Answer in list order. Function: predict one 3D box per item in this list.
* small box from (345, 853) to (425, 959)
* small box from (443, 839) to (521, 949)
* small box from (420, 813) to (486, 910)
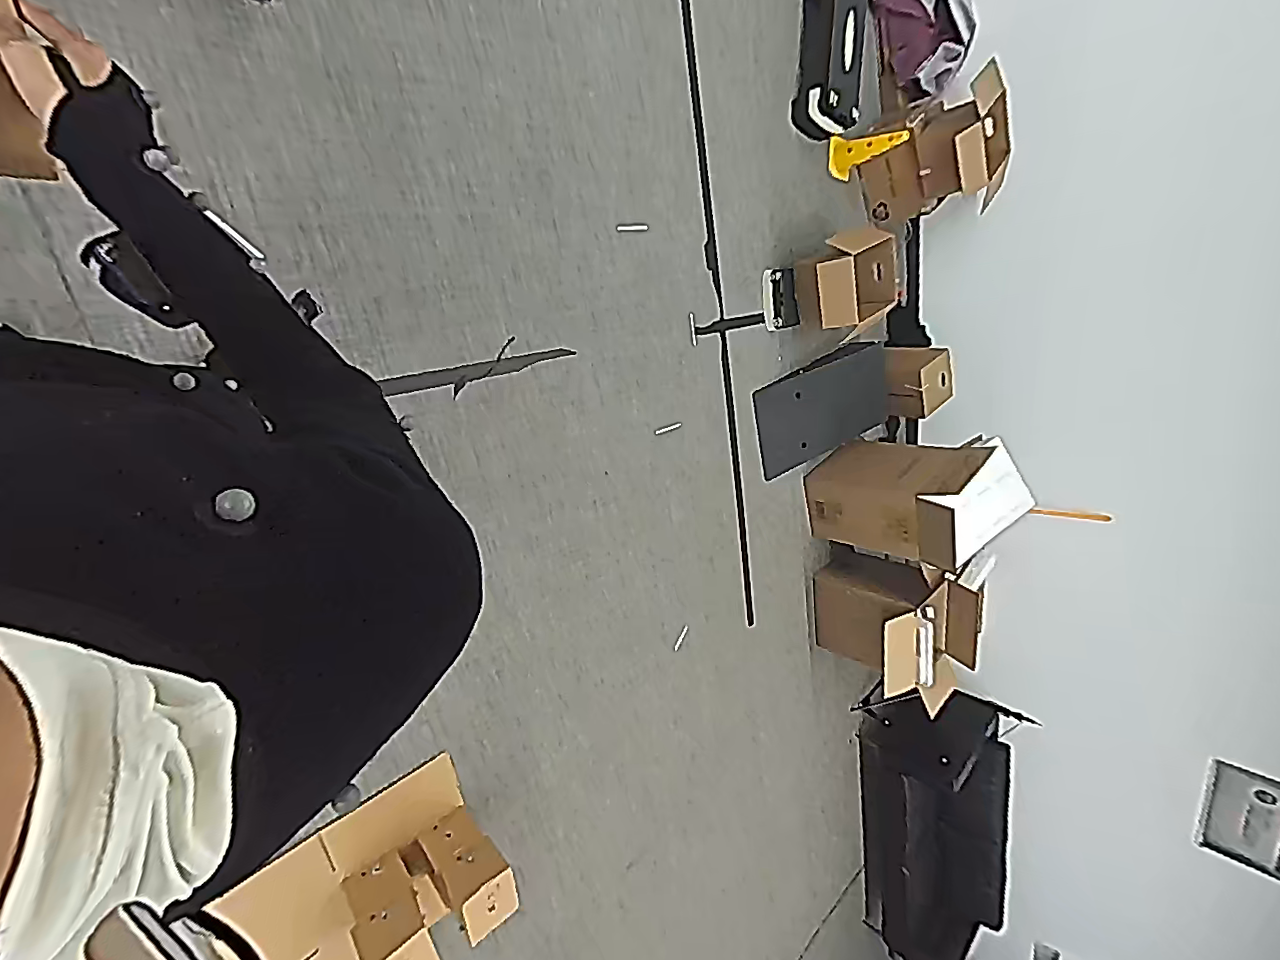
[{"bbox_3d":[-0.785,1.309,1.661,0.168,0.176,0.179,-18,110,-38],"label":"small box"},{"bbox_3d":[-0.495,1.284,1.692,0.168,0.176,0.179,-19,110,-39],"label":"small box"},{"bbox_3d":[-0.613,1.258,1.805,0.168,0.176,0.179,-20,110,-38],"label":"small box"}]
